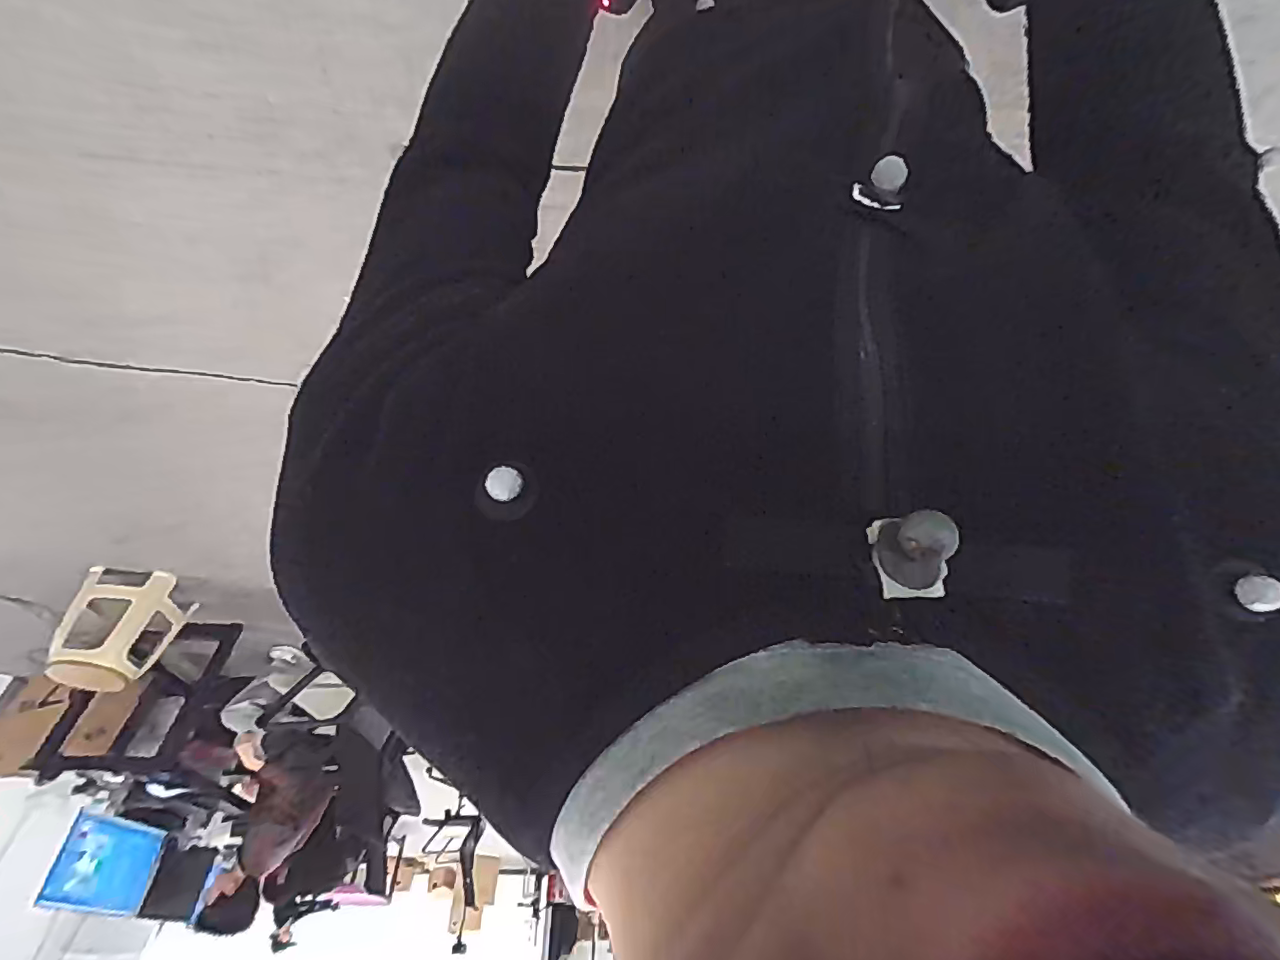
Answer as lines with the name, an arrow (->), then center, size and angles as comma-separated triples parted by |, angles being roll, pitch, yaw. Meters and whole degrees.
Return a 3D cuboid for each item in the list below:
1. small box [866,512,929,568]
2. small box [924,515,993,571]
small box -> 1.043, 0.240, 2.209 | 0.168, 0.176, 0.179 | -2, 139, 3
small box -> 1.298, 0.258, 2.231 | 0.168, 0.176, 0.179 | 2, 137, -4
